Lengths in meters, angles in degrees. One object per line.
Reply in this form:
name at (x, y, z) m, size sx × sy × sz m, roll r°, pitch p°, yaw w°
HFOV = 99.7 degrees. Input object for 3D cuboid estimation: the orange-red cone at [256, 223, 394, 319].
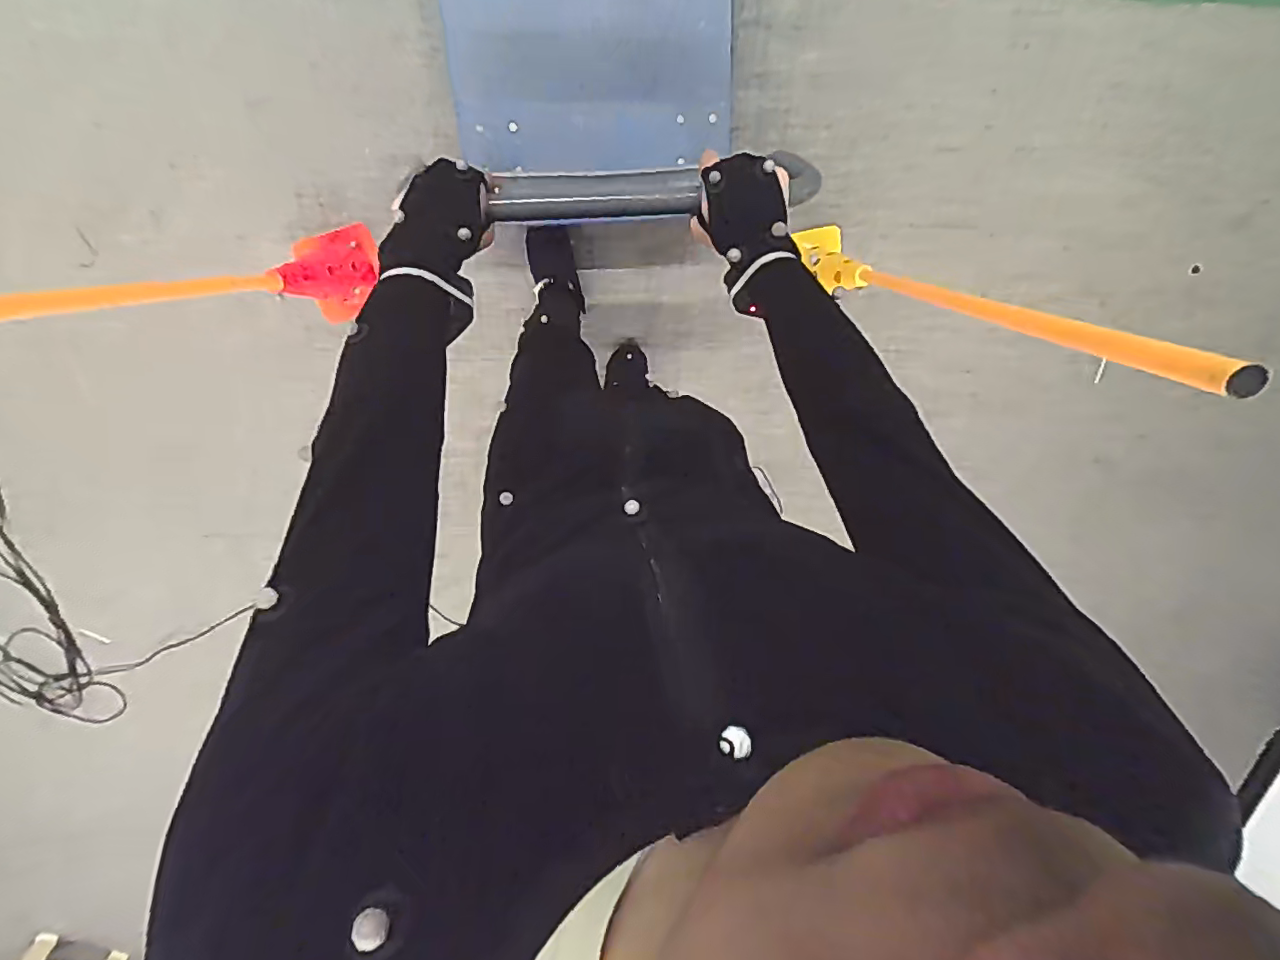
orange-red cone at (-0.725, -0.449, 1.188) m, size 0.199 × 0.360 × 0.198 m, roll -15°, pitch 113°, yaw 3°
